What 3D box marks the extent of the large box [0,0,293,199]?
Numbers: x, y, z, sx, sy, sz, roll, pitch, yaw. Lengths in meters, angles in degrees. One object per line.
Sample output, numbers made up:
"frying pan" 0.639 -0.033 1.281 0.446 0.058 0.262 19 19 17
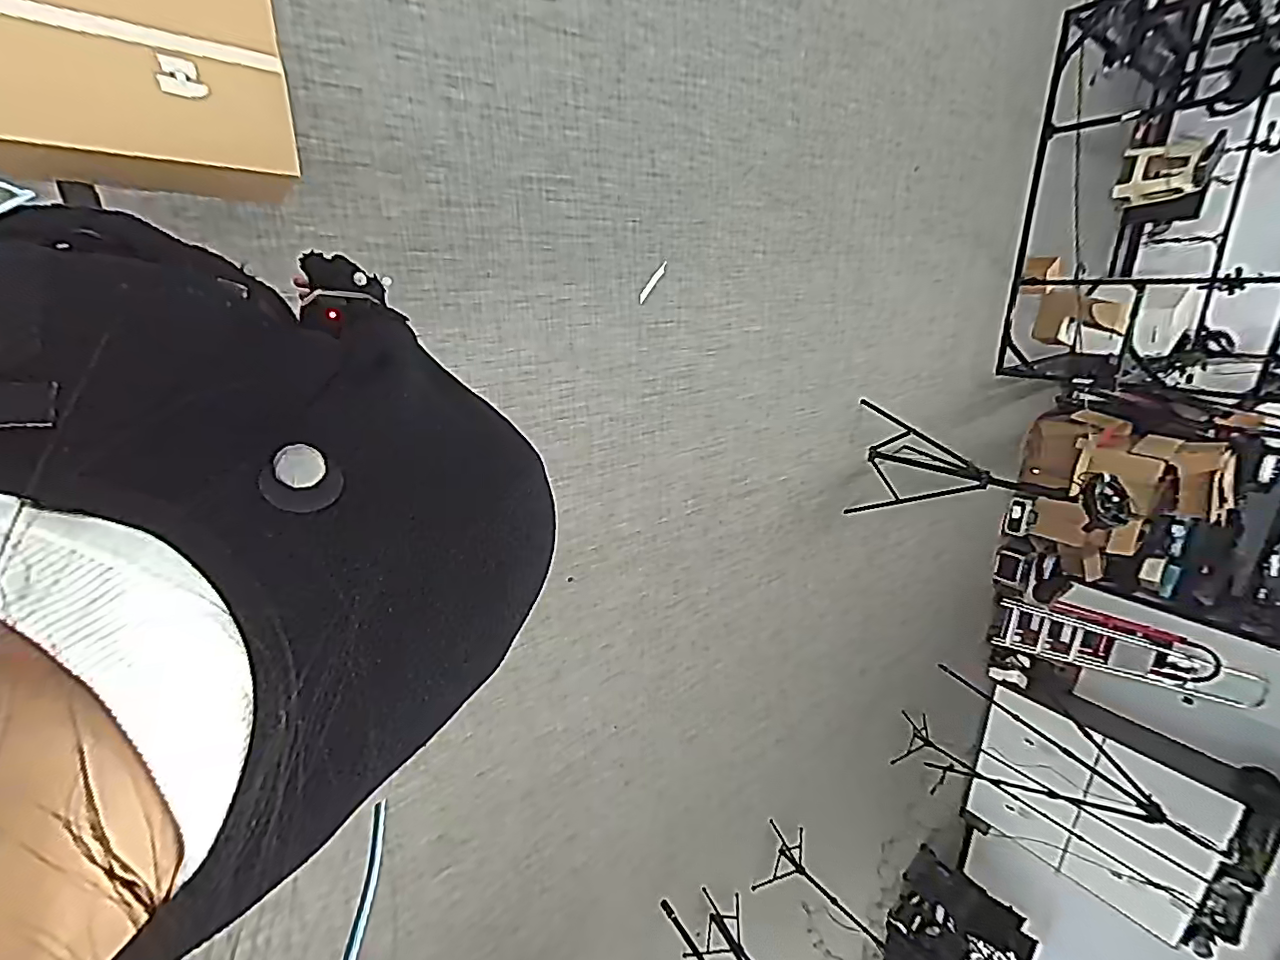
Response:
"large box" -0.836 -0.657 0.857 0.408 0.320 0.320 -14 113 -37
